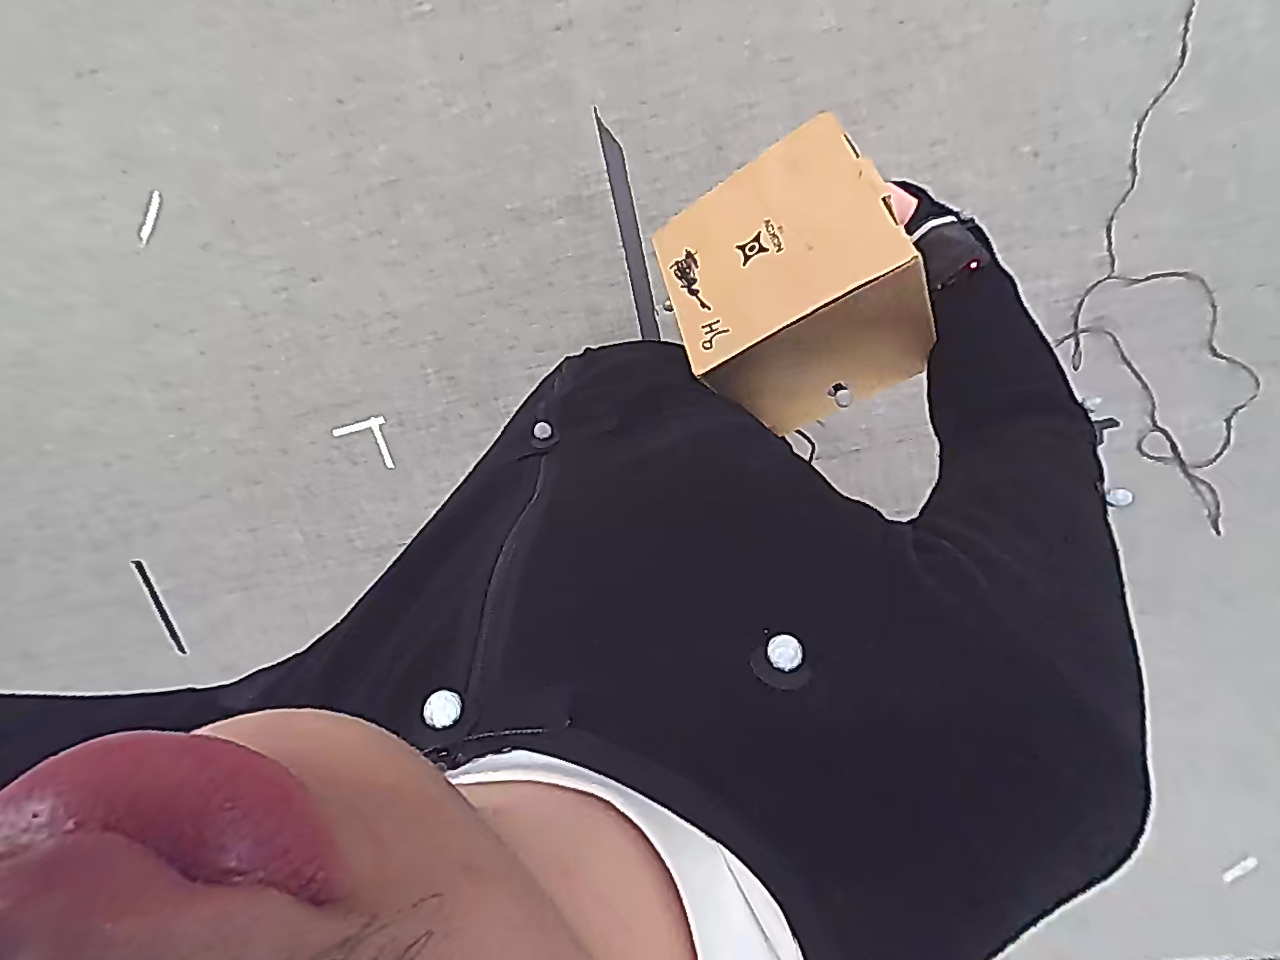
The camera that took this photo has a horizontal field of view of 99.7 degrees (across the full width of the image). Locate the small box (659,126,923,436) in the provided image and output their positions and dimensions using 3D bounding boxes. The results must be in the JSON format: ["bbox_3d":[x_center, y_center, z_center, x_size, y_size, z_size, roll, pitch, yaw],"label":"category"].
[{"bbox_3d":[0.146,-0.167,0.509,0.179,0.176,0.168,-25,61,24],"label":"small box"}]
